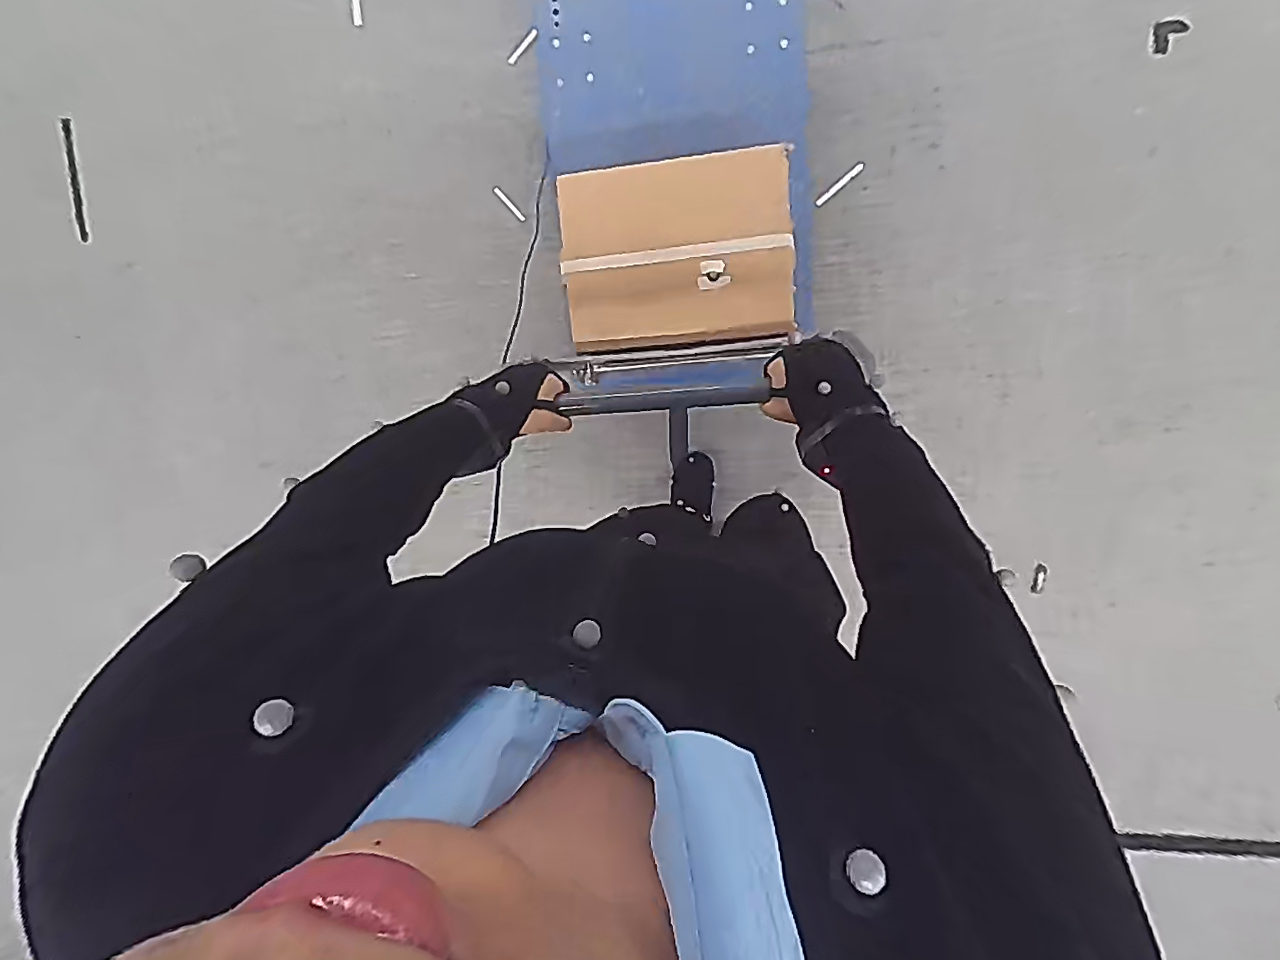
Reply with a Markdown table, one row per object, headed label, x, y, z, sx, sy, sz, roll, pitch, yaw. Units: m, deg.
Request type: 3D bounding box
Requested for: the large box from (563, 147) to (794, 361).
| label | x | y | z | sx | sy | sz | roll | pitch | yaw |
| --- | --- | --- | --- | --- | --- | --- | --- | --- | --- |
| large box | 0.085 | -0.431 | 1.123 | 0.408 | 0.320 | 0.320 | -4 | 99 | 8 |
